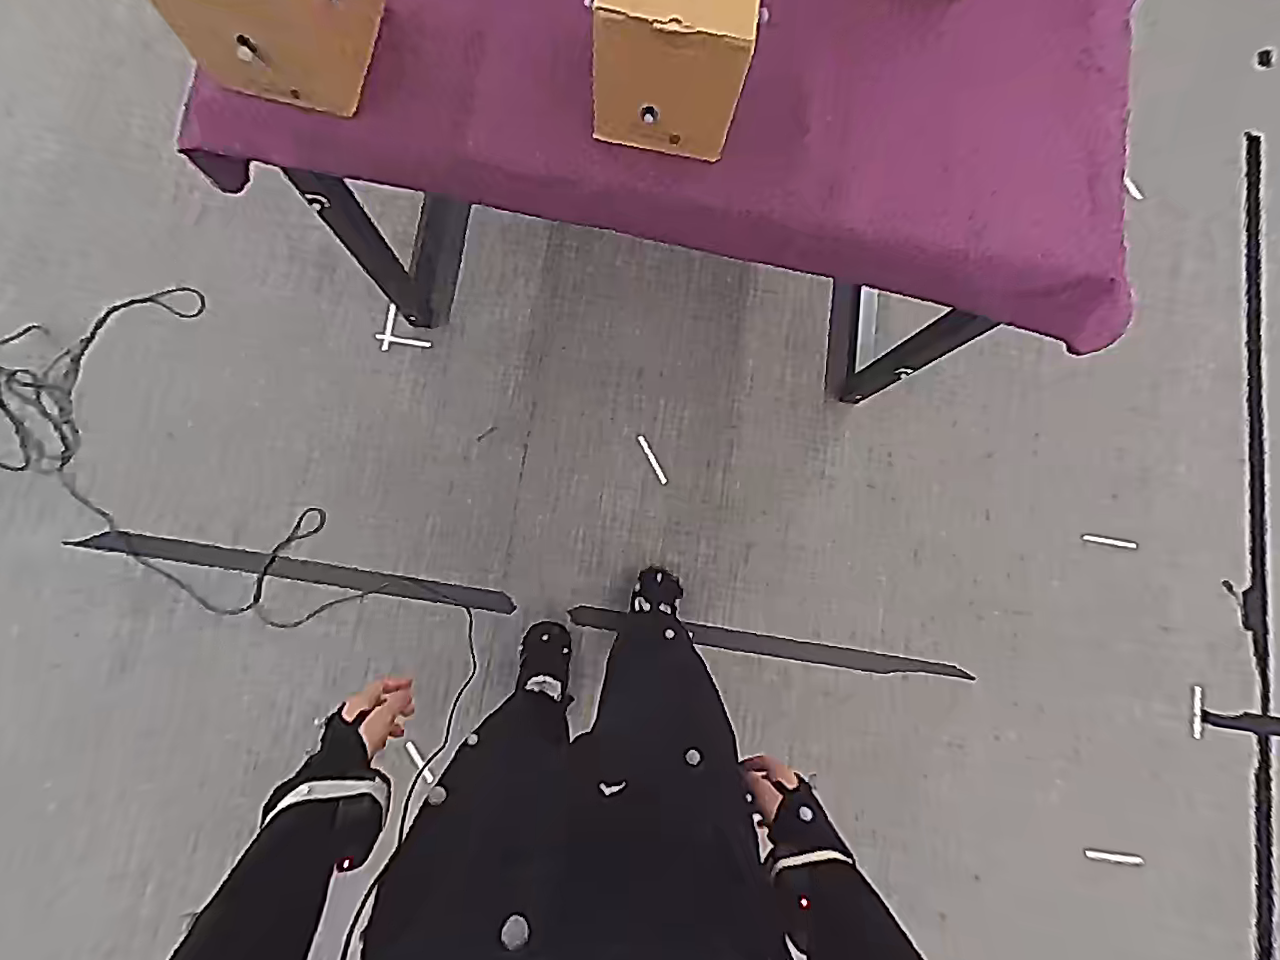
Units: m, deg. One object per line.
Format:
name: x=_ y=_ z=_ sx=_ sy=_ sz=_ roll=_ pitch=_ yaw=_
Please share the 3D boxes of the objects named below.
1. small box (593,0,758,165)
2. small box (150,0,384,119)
small box: x=0.037 y=-0.518 z=0.636 sx=0.168 sy=0.176 sz=0.179 roll=8 pitch=82 yaw=-4
small box: x=-0.409 y=-0.548 z=0.598 sx=0.168 sy=0.176 sz=0.179 roll=11 pitch=82 yaw=-4
